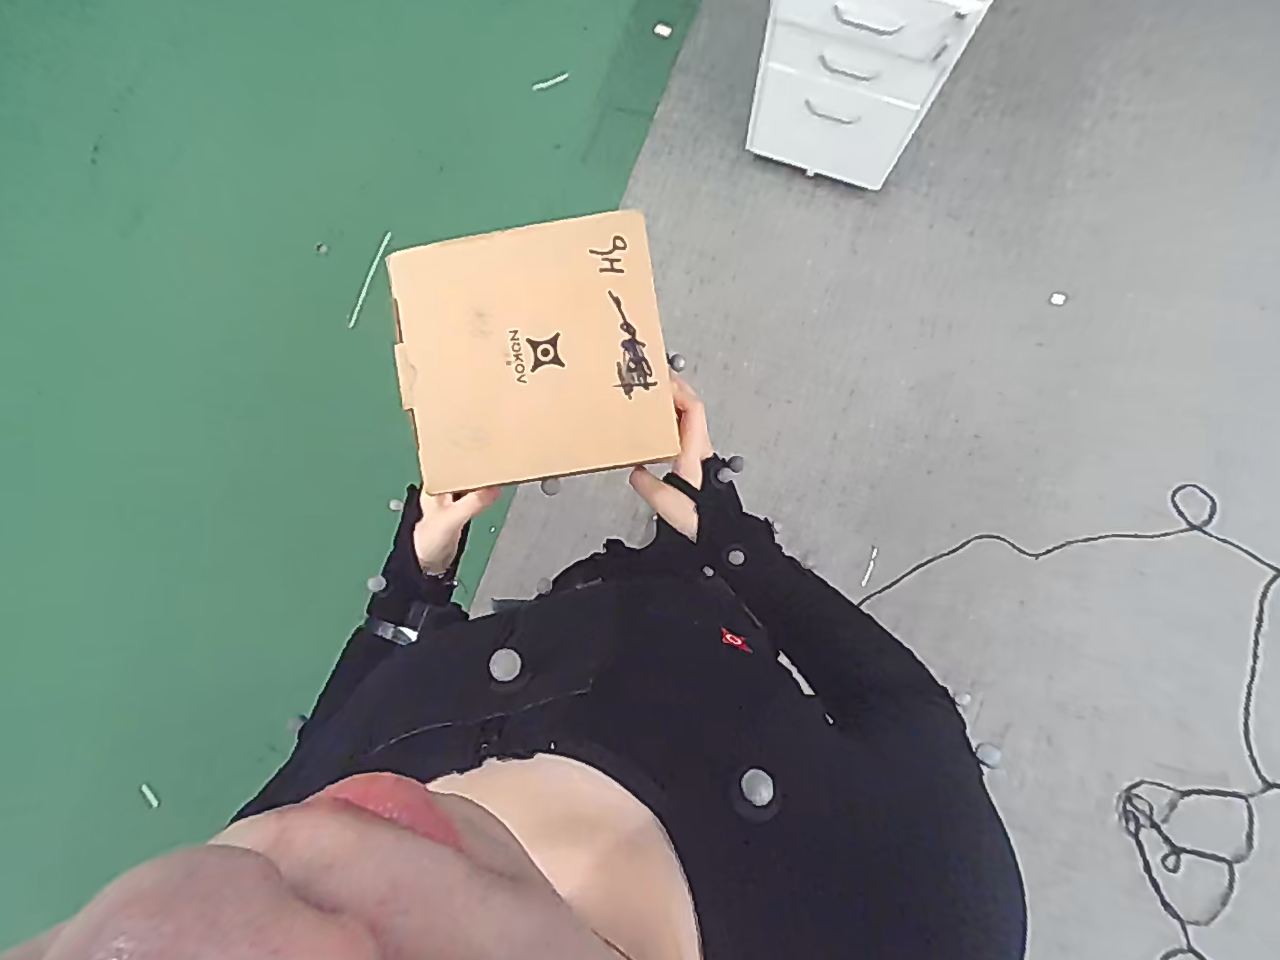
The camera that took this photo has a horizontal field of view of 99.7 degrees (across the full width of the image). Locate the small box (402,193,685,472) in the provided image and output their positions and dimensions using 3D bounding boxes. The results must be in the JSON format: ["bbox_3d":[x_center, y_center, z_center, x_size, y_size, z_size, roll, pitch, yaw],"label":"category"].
[{"bbox_3d":[-0.061,-0.098,0.438,0.179,0.176,0.168,-8,90,2],"label":"small box"}]
